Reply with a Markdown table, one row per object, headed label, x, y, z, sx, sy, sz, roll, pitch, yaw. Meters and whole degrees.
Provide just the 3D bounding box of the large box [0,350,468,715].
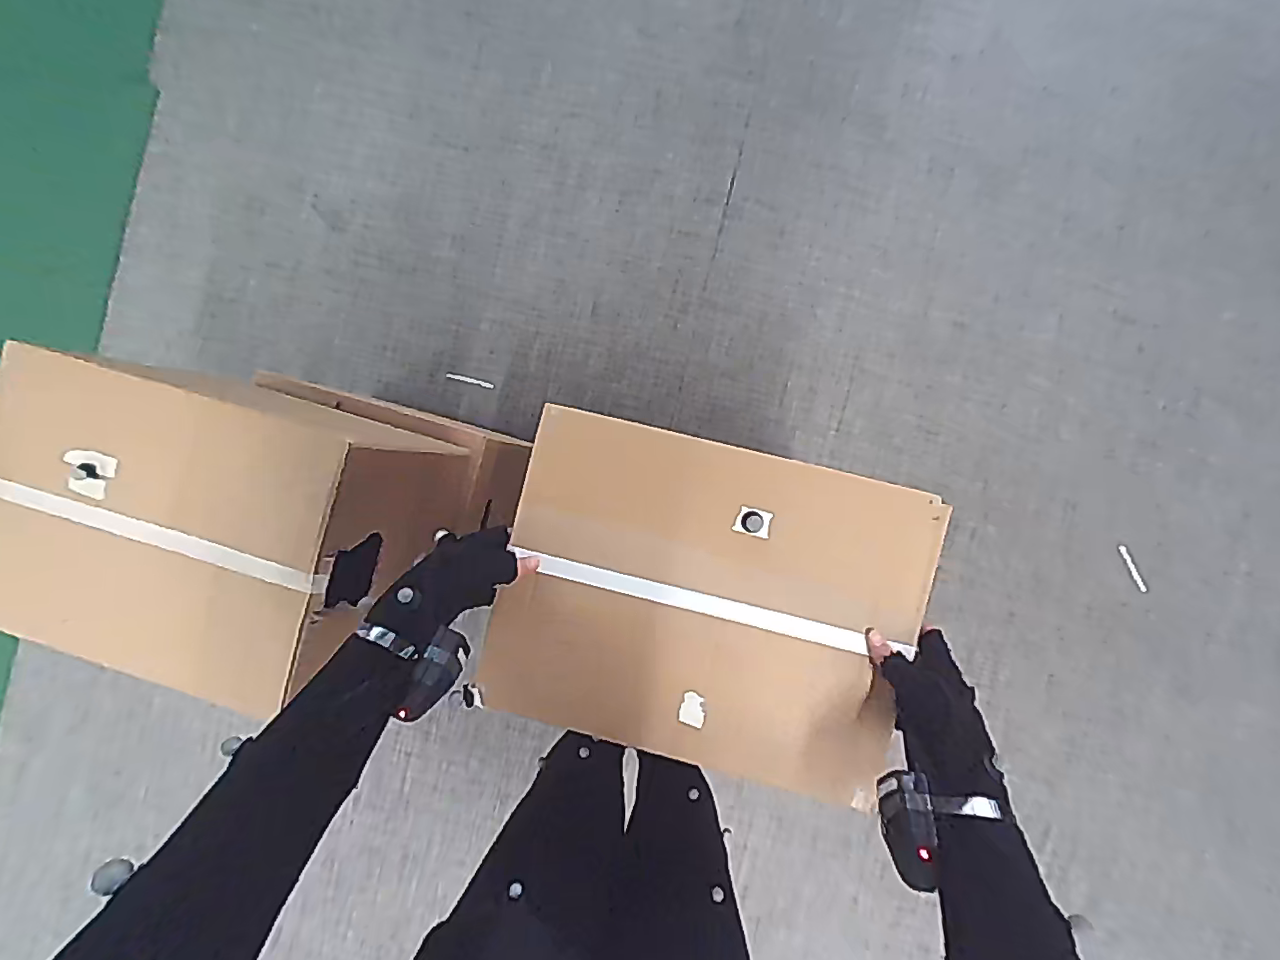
| label | x | y | z | sx | sy | sz | roll | pitch | yaw |
| --- | --- | --- | --- | --- | --- | --- | --- | --- | --- |
| large box | -0.507 | 0.050 | 0.728 | 0.408 | 0.320 | 0.320 | 16 | 92 | 5 |
